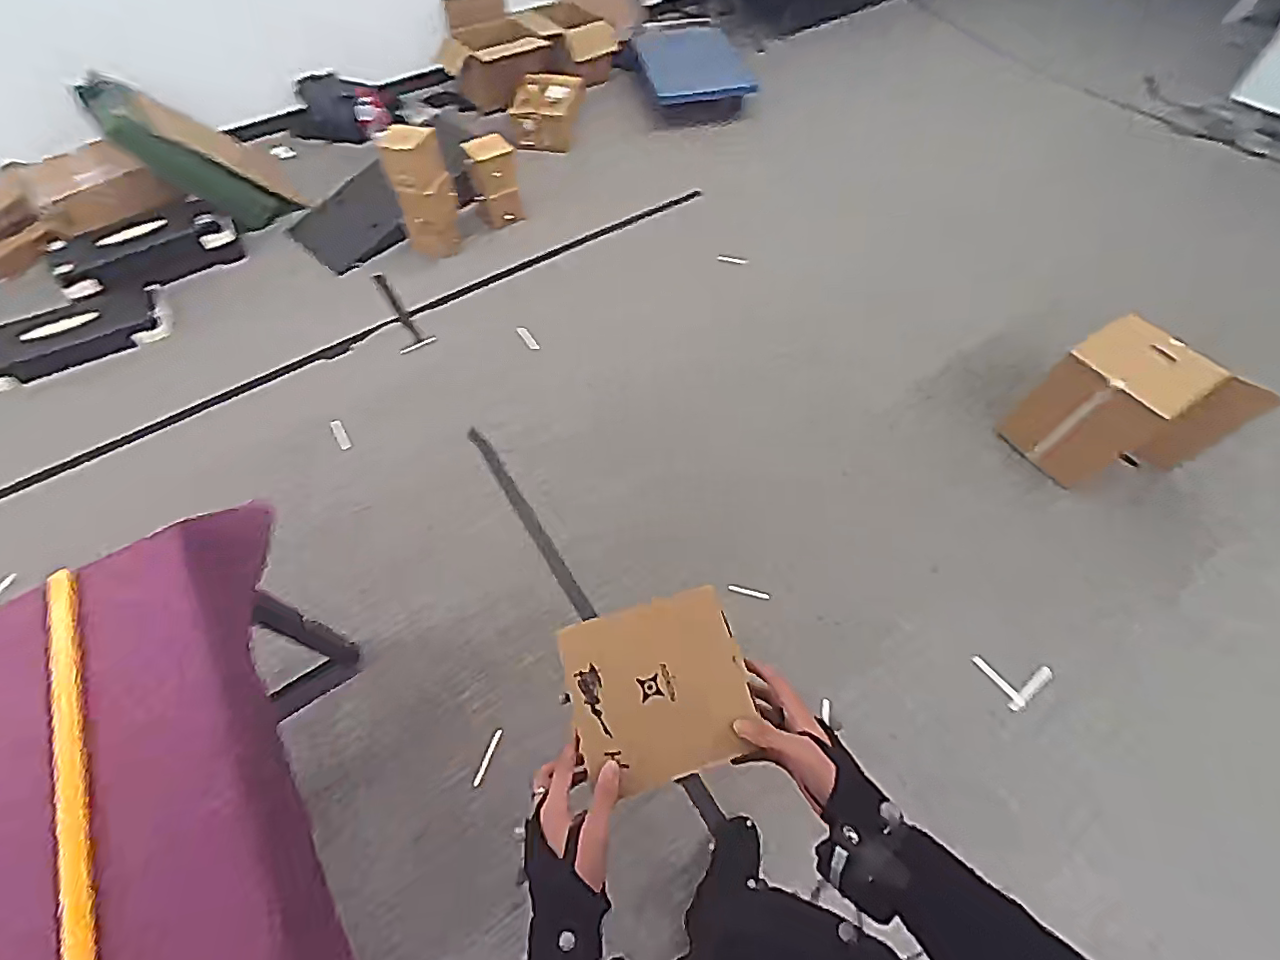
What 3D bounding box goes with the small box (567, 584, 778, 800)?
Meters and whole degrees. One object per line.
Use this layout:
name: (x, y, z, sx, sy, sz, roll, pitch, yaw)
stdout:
small box: (0.025, 0.231, 0.605, 0.179, 0.176, 0.168, -14, 68, -8)
